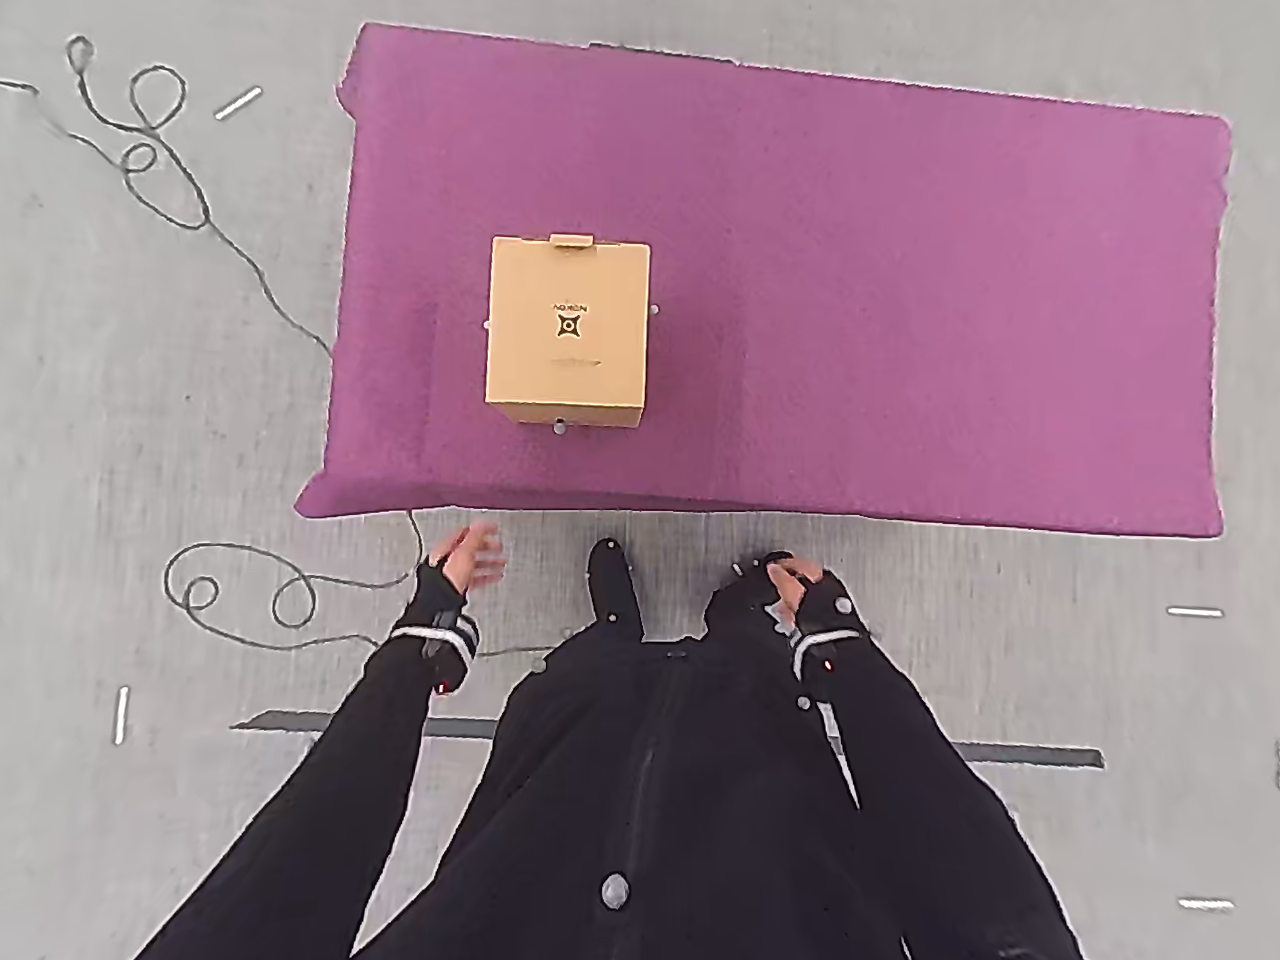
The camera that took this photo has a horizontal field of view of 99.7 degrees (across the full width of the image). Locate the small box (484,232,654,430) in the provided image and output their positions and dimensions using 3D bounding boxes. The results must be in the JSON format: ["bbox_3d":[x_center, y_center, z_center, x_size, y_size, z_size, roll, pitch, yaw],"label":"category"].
[{"bbox_3d":[-0.077,-0.160,0.634,0.168,0.176,0.179,3,88,-2],"label":"small box"}]
